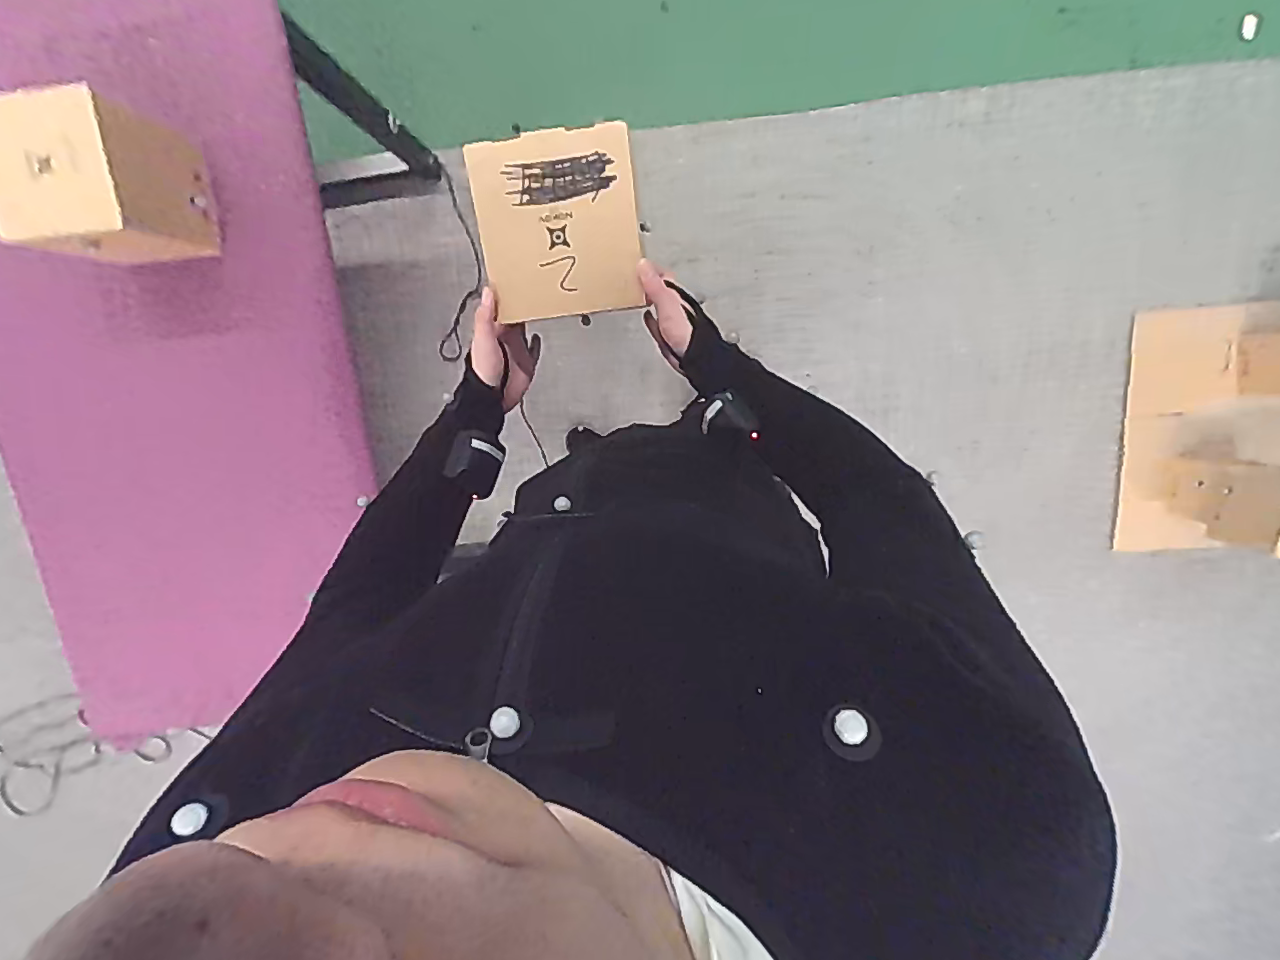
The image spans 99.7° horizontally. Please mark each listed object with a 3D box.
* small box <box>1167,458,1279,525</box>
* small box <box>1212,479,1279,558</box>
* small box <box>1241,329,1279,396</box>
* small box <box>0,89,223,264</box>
[{"bbox_3d":[1.592,0.034,1.457,0.179,0.176,0.168,0,101,1],"label":"small box"},{"bbox_3d":[1.560,0.095,1.303,0.179,0.176,0.168,4,101,0],"label":"small box"},{"bbox_3d":[1.723,-0.311,1.386,0.179,0.176,0.168,-10,100,4],"label":"small box"},{"bbox_3d":[-0.741,-0.405,0.753,0.179,0.176,0.168,-3,102,4],"label":"small box"}]
